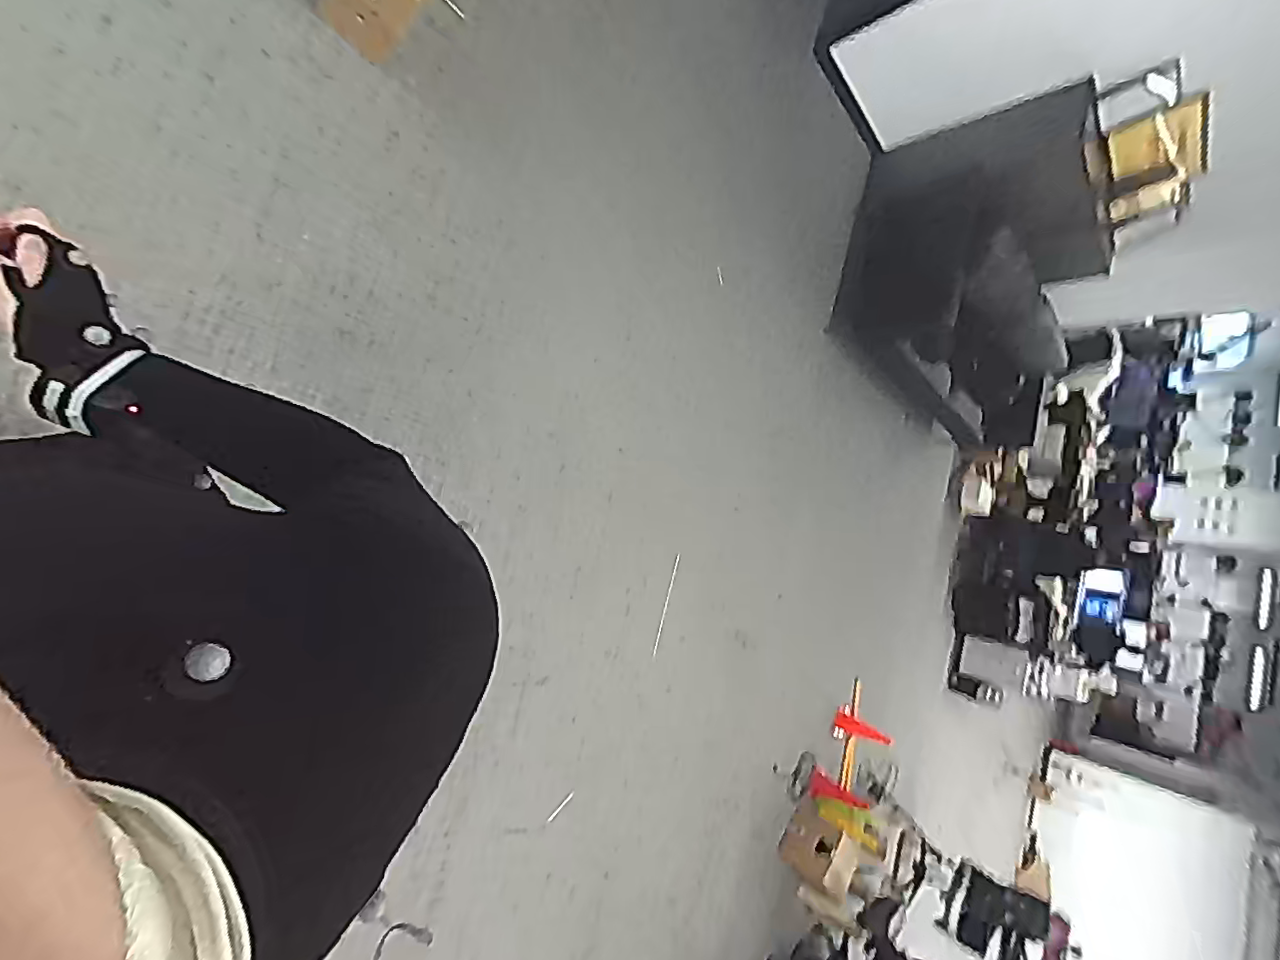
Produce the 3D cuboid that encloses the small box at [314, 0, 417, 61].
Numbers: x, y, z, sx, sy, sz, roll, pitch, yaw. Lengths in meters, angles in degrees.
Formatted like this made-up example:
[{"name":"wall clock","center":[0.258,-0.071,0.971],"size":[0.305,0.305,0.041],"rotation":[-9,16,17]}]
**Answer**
[{"name":"small box","center":[-0.702,-1.238,1.387],"size":[0.179,0.176,0.168],"rotation":[30,75,-42]}]
